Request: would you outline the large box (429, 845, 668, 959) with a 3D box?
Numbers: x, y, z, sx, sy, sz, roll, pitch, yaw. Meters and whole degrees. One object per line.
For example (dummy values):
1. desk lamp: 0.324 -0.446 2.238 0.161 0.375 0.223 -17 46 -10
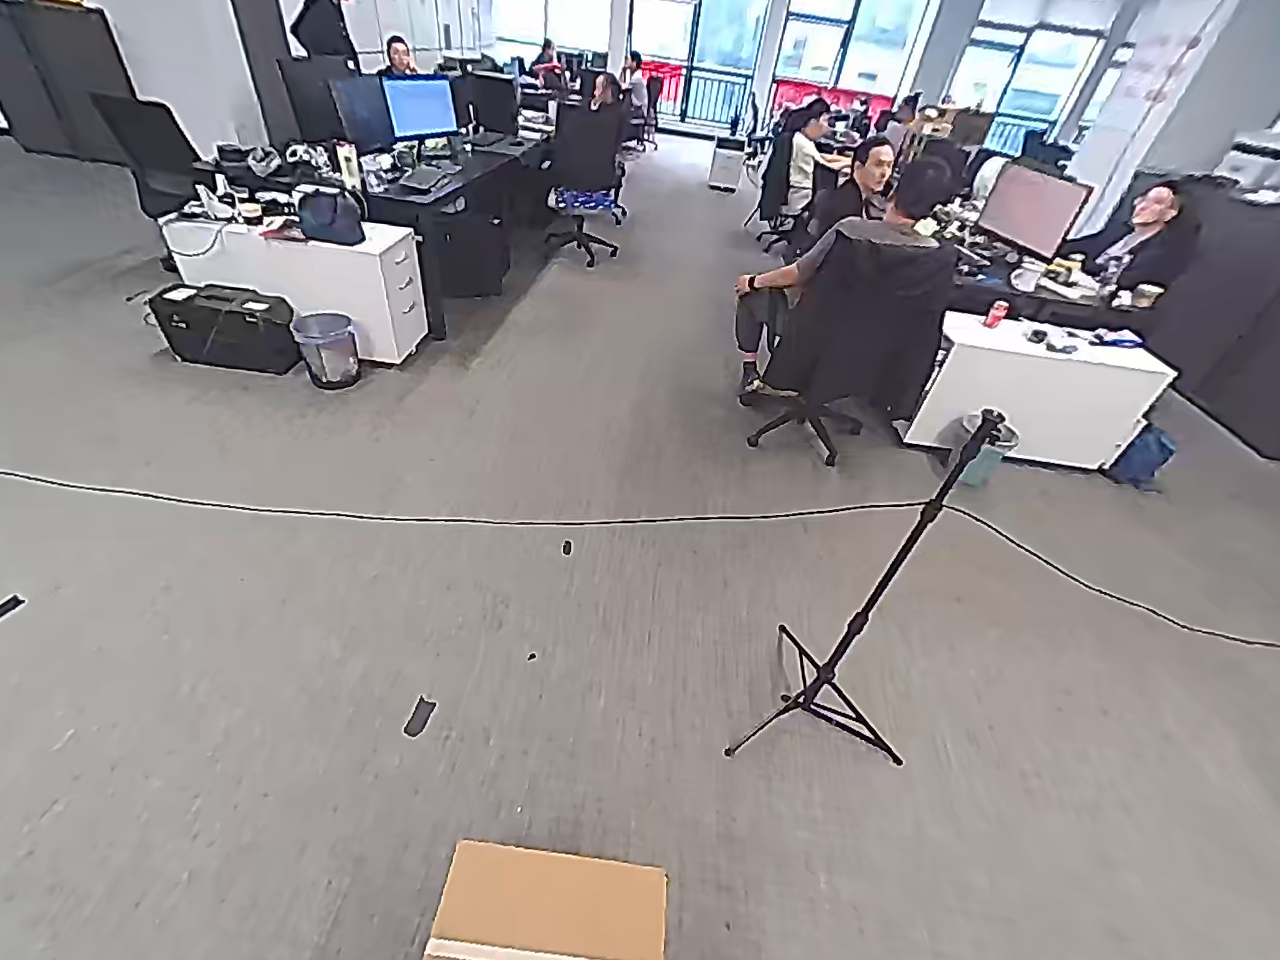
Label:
1. large box: -0.175 0.930 1.004 0.408 0.320 0.320 9 39 -1
